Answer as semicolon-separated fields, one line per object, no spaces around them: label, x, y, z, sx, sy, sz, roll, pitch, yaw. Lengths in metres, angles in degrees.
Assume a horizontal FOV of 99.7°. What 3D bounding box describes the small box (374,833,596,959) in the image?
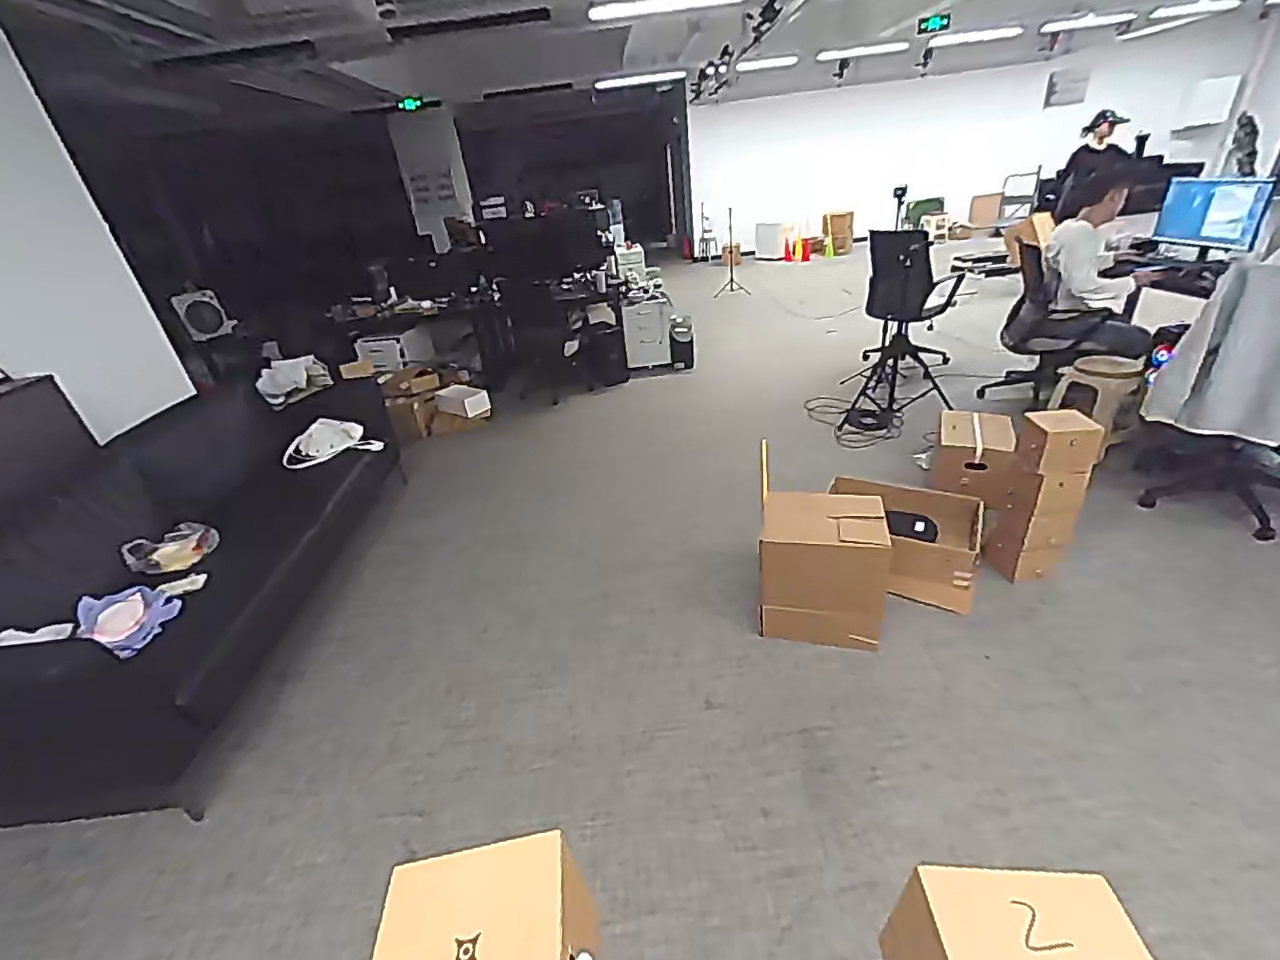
small box;-0.132;0.466;0.488;0.168;0.176;0.179;-11;31;-2
